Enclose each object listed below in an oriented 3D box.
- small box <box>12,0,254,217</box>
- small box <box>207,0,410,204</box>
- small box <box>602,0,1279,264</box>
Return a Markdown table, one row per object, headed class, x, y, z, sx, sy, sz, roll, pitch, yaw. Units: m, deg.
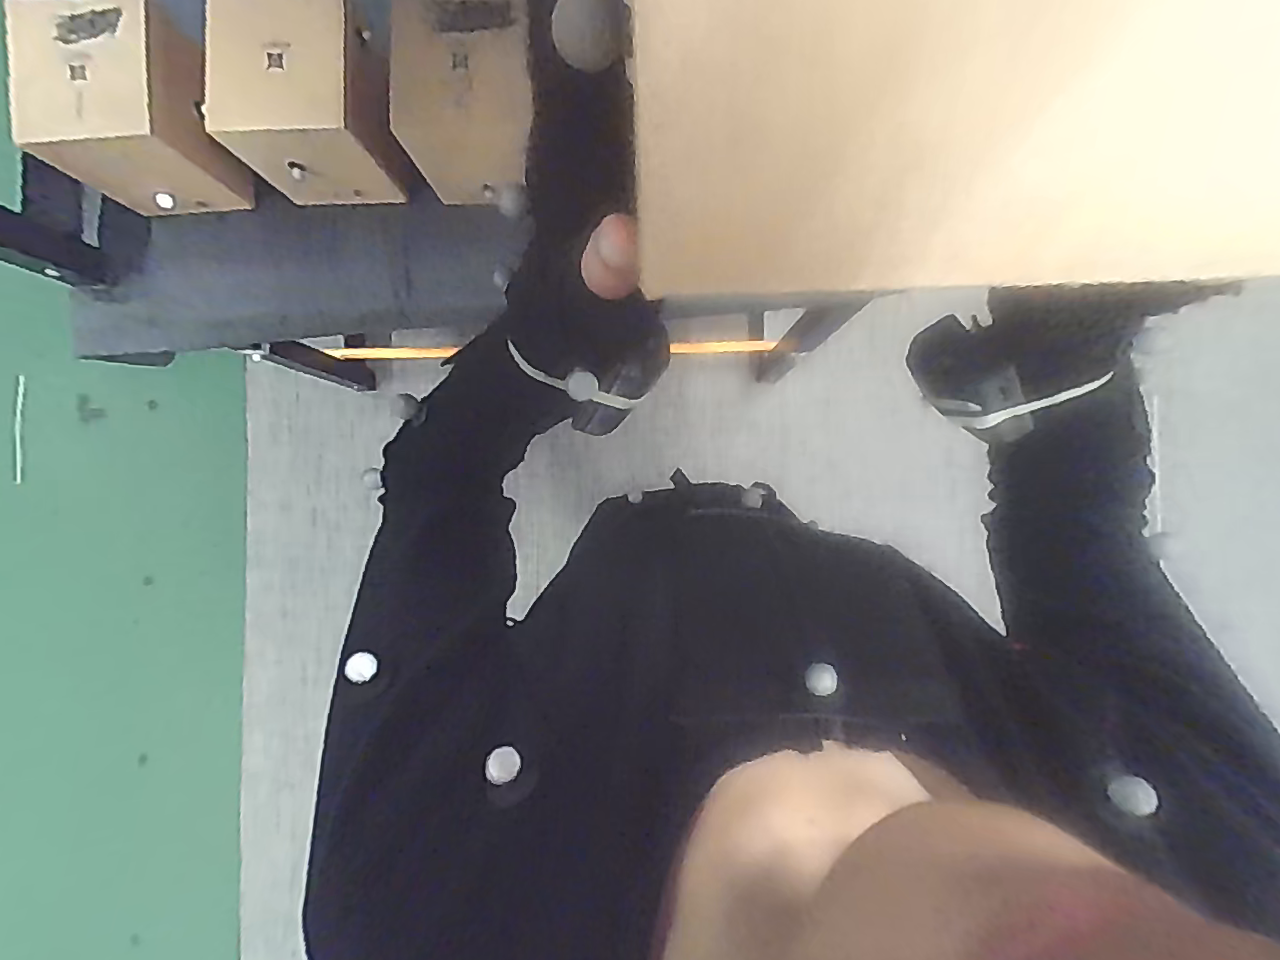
| class | x | y | z | sx | sy | sz | roll | pitch | yaw |
| --- | --- | --- | --- | --- | --- | --- | --- | --- | --- |
| small box | -0.642 | -0.474 | 0.706 | 0.168 | 0.176 | 0.179 | -3 | 88 | 1 |
| small box | -0.416 | -0.482 | 0.704 | 0.168 | 0.176 | 0.179 | -1 | 88 | 1 |
| small box | 0.076 | -0.165 | 0.118 | 0.168 | 0.176 | 0.179 | -1 | 131 | 1 |
